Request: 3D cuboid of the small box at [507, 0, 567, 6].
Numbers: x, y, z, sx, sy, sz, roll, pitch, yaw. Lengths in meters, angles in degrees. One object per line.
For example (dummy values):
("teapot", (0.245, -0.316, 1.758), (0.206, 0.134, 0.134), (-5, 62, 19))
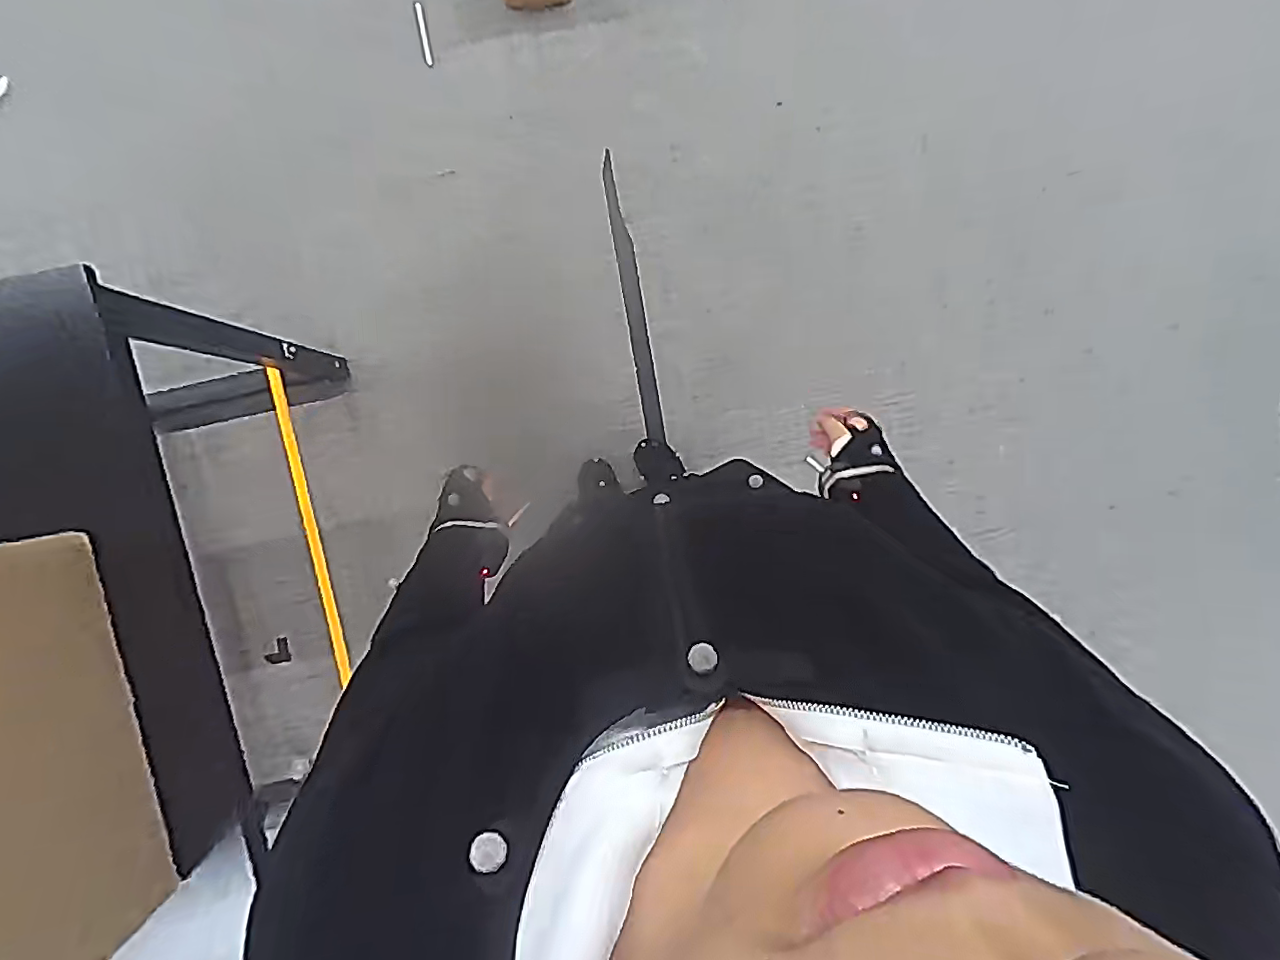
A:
("small box", (-0.264, -1.301, 1.310), (0.179, 0.176, 0.168), (-8, 95, -3))
